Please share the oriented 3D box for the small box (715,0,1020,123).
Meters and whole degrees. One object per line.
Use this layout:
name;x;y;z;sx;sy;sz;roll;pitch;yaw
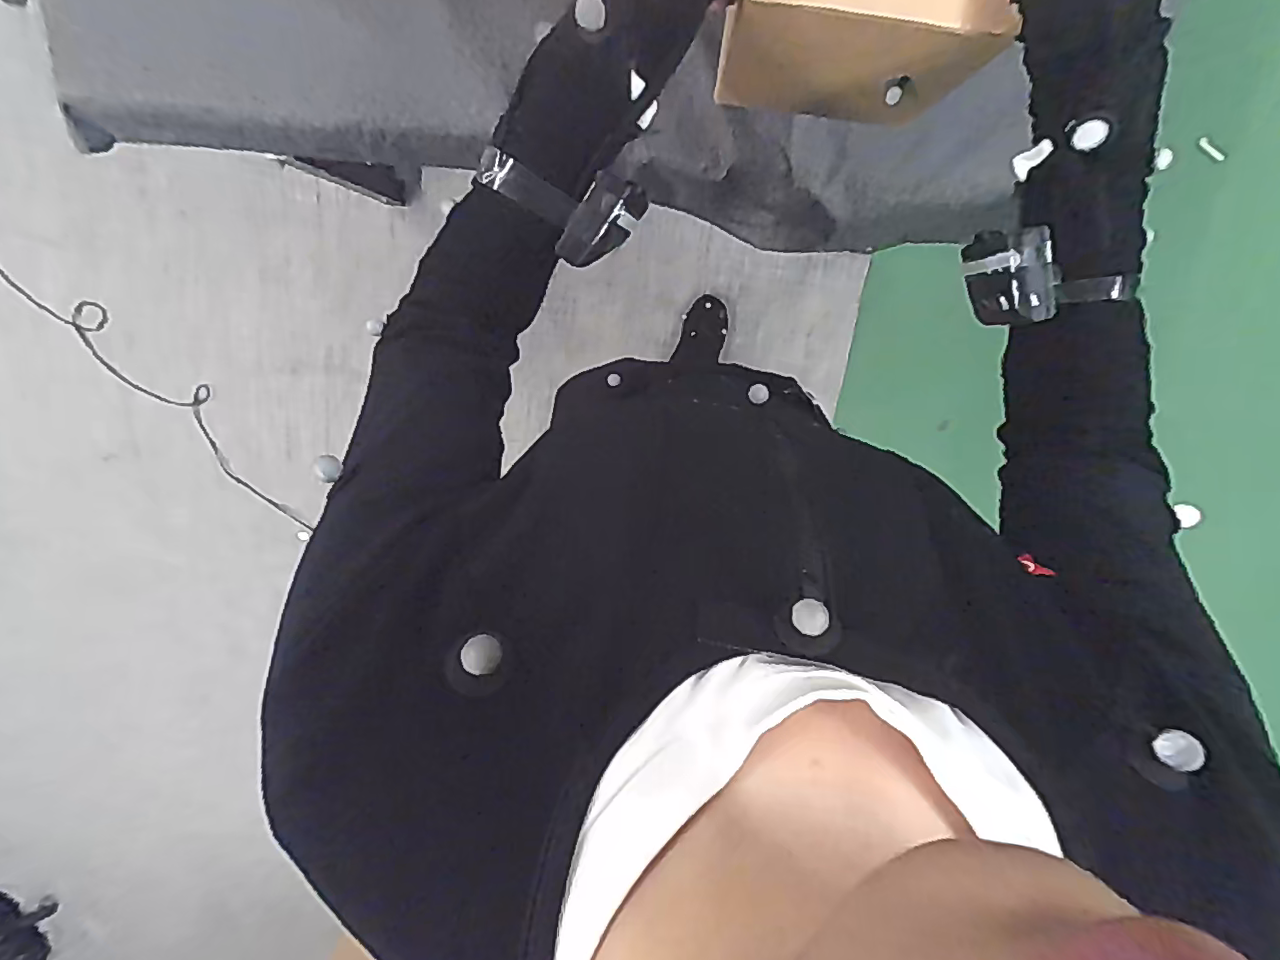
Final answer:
small box;0.159;-0.386;0.395;0.179;0.176;0.168;6;105;1
